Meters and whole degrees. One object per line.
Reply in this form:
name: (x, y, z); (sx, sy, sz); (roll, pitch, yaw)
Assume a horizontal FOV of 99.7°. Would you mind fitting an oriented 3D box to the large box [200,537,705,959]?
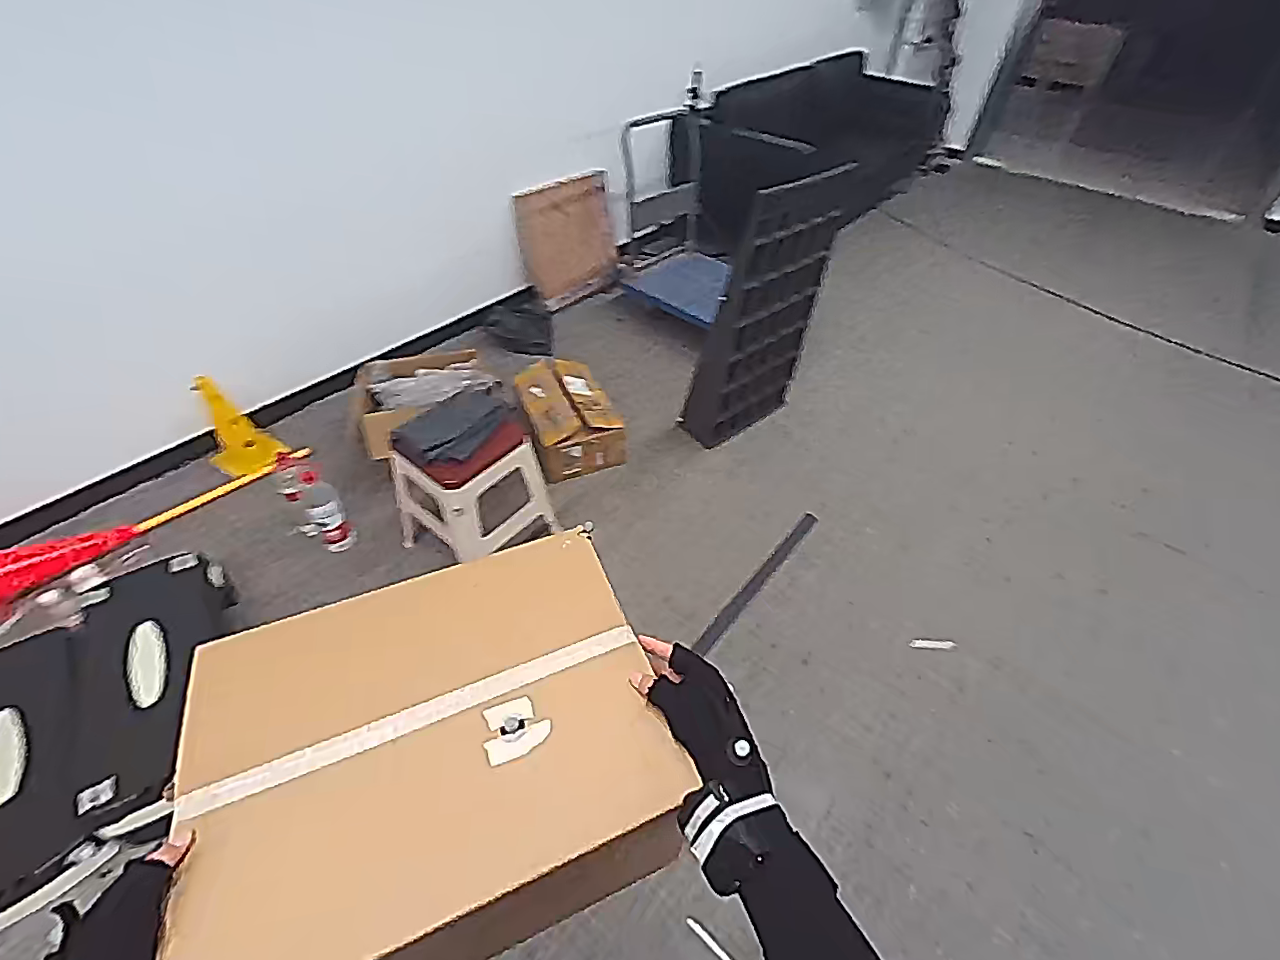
large box: (-0.186, 0.327, 0.624); (0.408, 0.320, 0.320); (-15, 49, -17)
